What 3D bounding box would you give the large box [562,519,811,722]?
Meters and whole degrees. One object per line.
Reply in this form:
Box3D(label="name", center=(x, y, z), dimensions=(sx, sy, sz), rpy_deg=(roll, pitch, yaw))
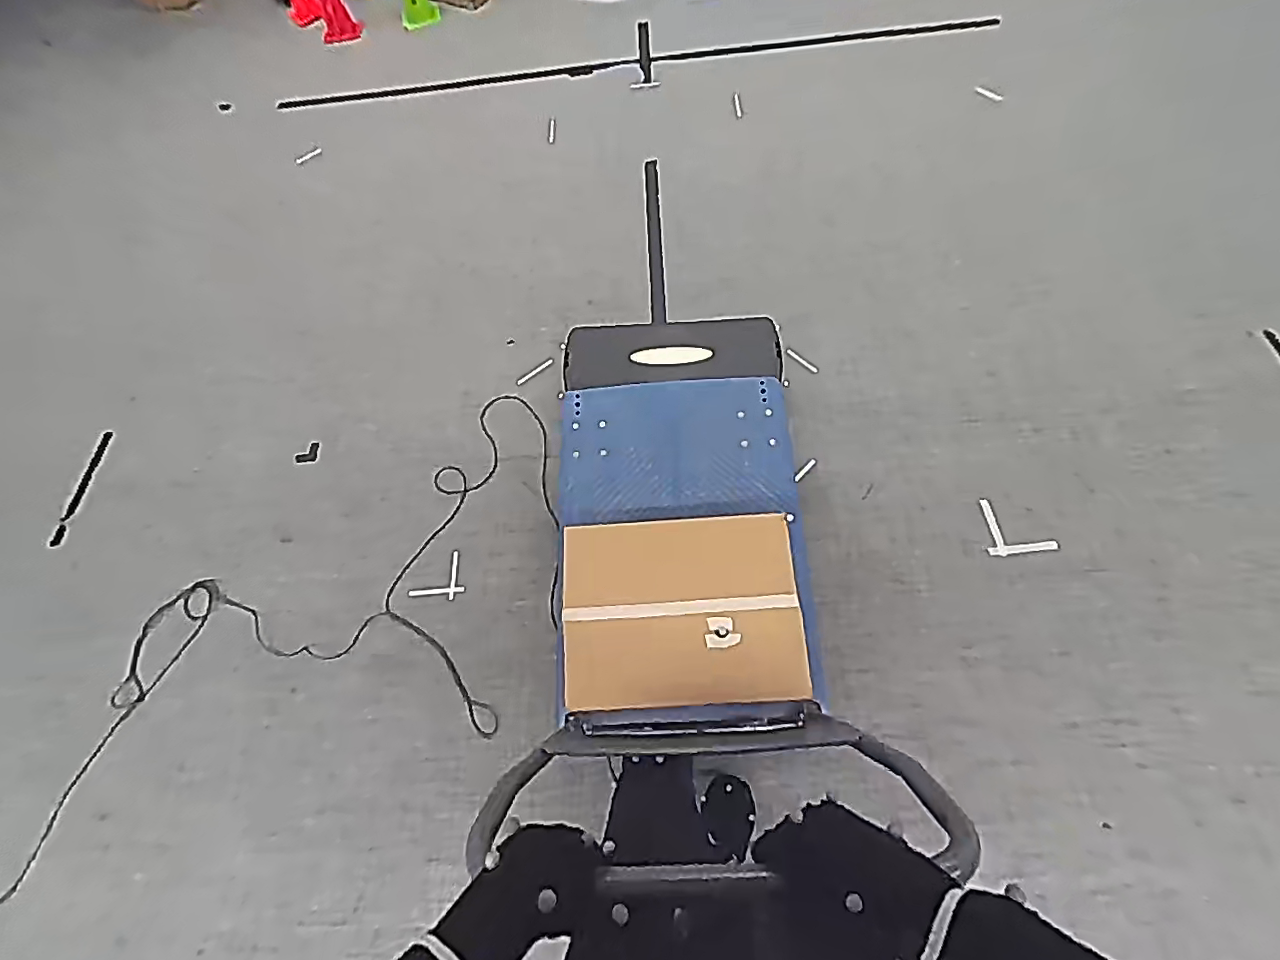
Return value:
Box3D(label="large box", center=(0.074, 0.280, 1.060), dimensions=(0.408, 0.320, 0.320), rpy_deg=(-4, 71, 2))
